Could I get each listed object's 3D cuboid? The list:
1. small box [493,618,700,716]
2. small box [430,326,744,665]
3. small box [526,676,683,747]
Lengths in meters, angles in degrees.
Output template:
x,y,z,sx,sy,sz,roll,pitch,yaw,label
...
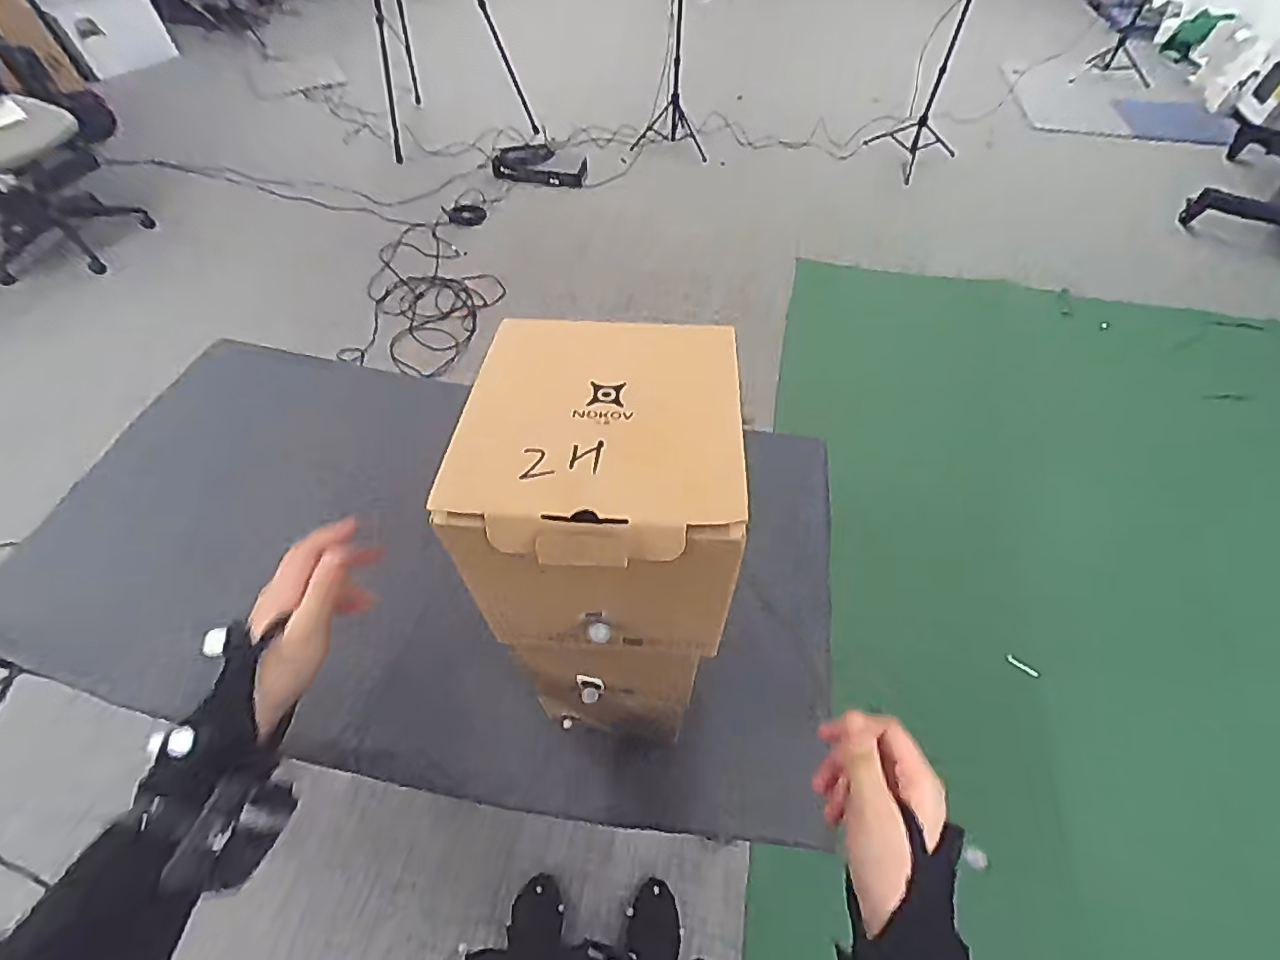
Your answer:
x,y,z,sx,sy,sz,roll,pitch,yaw,label
-0.023,0.106,0.524,0.168,0.176,0.179,6,53,5,small box
-0.021,0.013,0.388,0.168,0.176,0.179,2,52,4,small box
-0.021,0.203,0.655,0.168,0.176,0.179,9,52,7,small box
